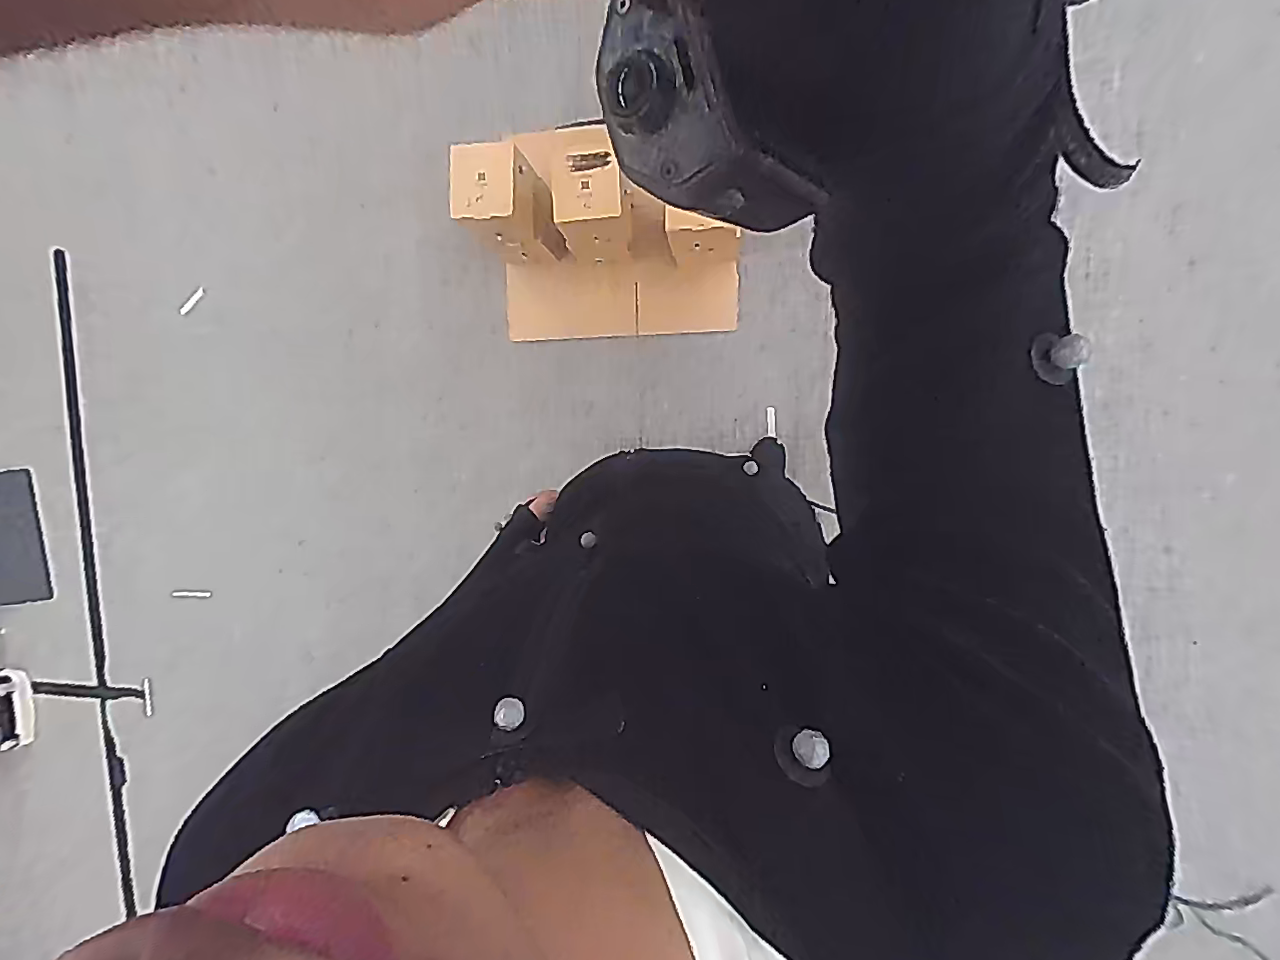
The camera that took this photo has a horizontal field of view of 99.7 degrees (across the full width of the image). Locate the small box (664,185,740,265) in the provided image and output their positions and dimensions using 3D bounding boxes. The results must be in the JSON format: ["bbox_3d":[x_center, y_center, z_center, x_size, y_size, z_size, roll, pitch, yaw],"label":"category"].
[{"bbox_3d":[0.171,-0.697,1.457,0.179,0.176,0.168,-9,94,9],"label":"small box"}]

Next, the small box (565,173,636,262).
[{"bbox_3d":[-0.105,-0.721,1.496,0.168,0.176,0.179,3,95,8],"label":"small box"}]

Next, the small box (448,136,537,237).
[{"bbox_3d":[-0.368,-0.734,1.367,0.168,0.176,0.179,3,95,9],"label":"small box"}]

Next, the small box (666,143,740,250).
[{"bbox_3d":[0.151,-0.672,1.296,0.168,0.176,0.179,1,96,8],"label":"small box"}]

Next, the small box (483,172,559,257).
[{"bbox_3d":[-0.332,-0.740,1.529,0.168,0.176,0.179,2,96,9],"label":"small box"}]
